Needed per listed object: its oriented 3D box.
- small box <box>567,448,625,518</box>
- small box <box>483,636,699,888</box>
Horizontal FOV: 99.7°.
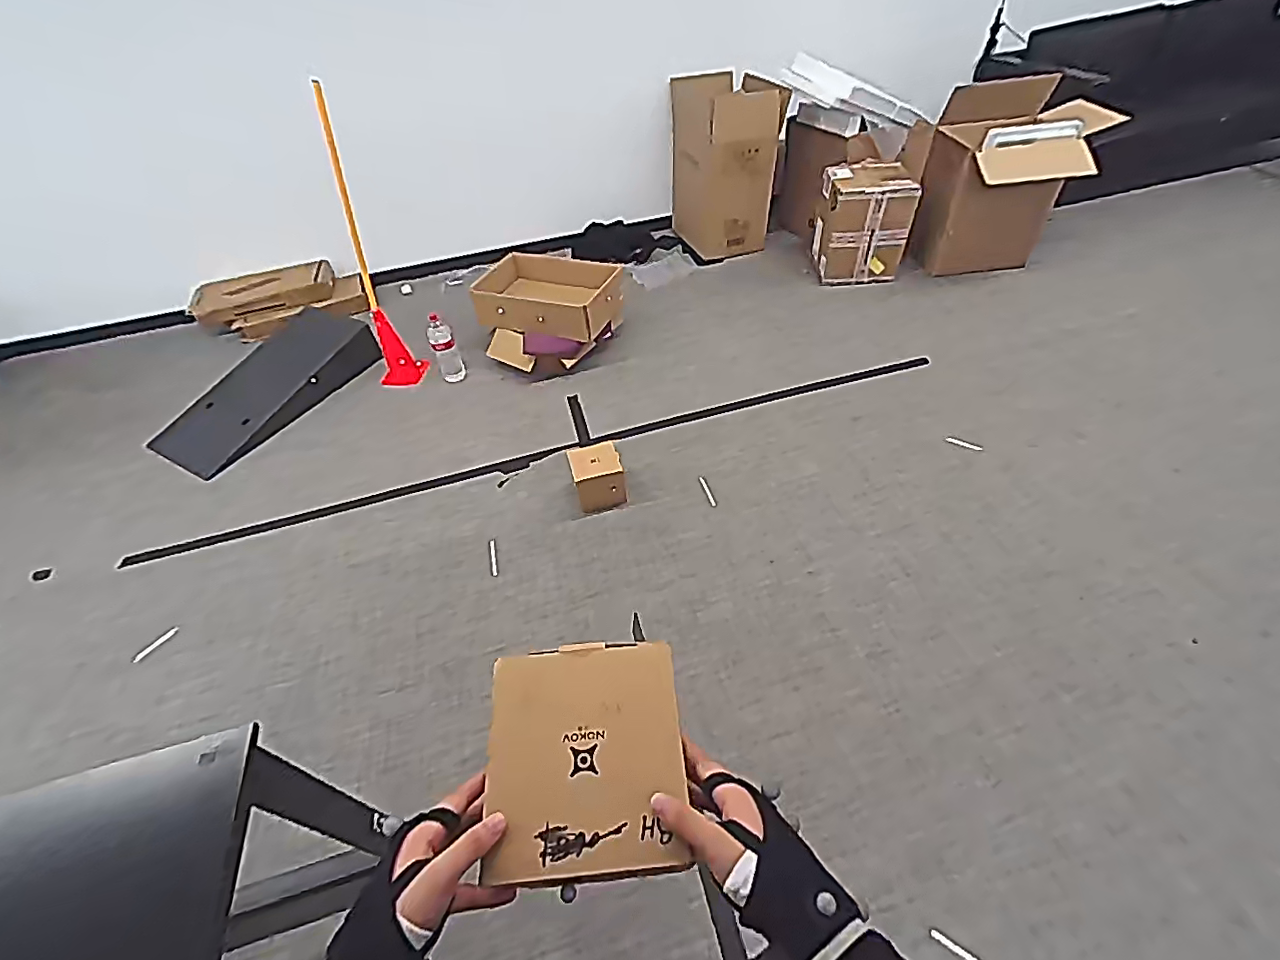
[{"bbox_3d":[-0.157,0.011,1.989,0.179,0.176,0.168,-16,46,-7],"label":"small box"},{"bbox_3d":[-0.041,0.272,0.520,0.168,0.176,0.179,-6,51,-1],"label":"small box"}]
